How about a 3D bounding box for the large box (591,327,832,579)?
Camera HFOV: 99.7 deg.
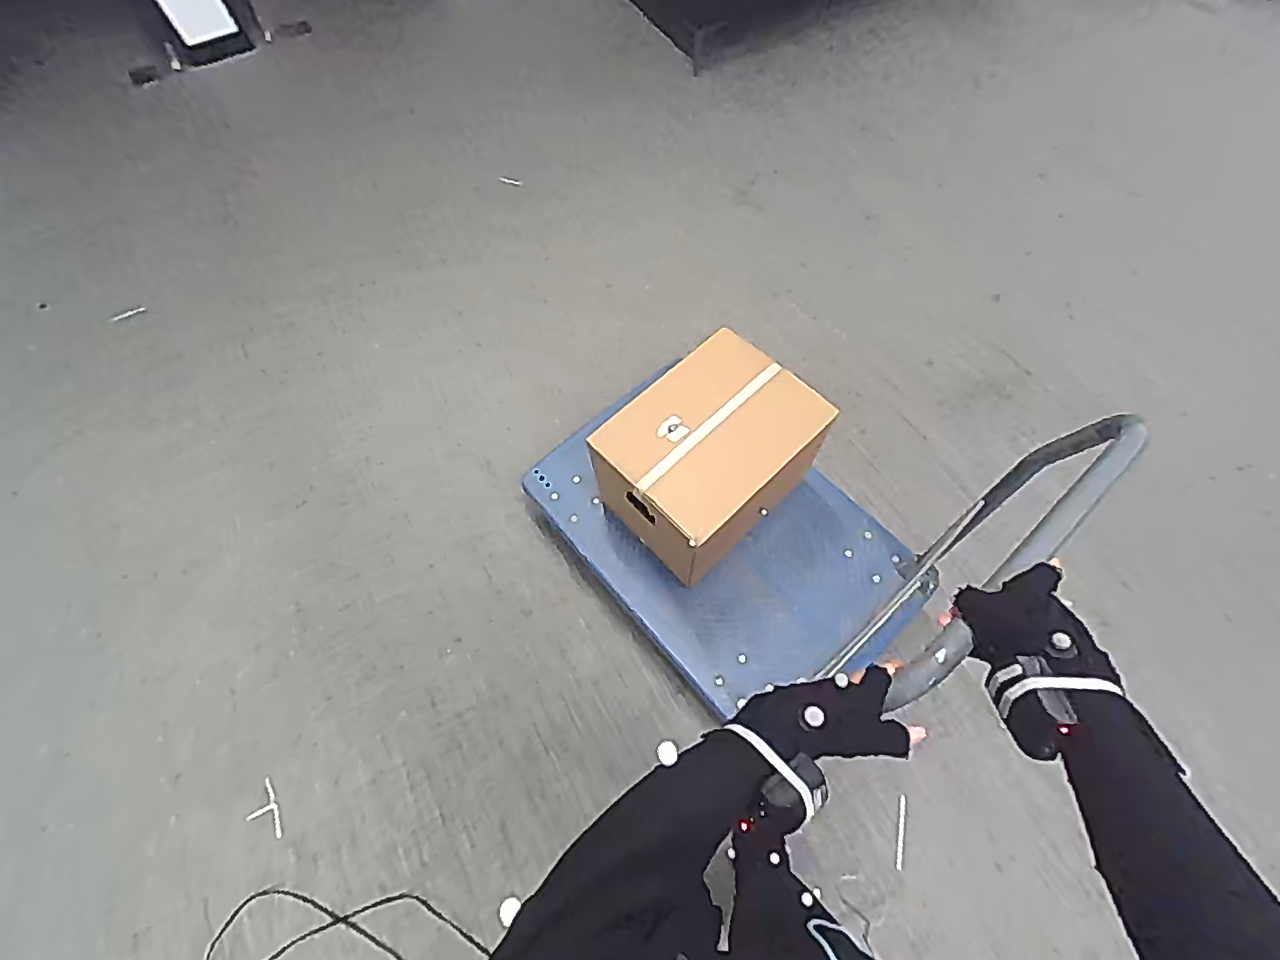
[{"bbox_3d":[0.151,-0.049,1.213,0.408,0.320,0.320,-42,70,-15],"label":"large box"}]
